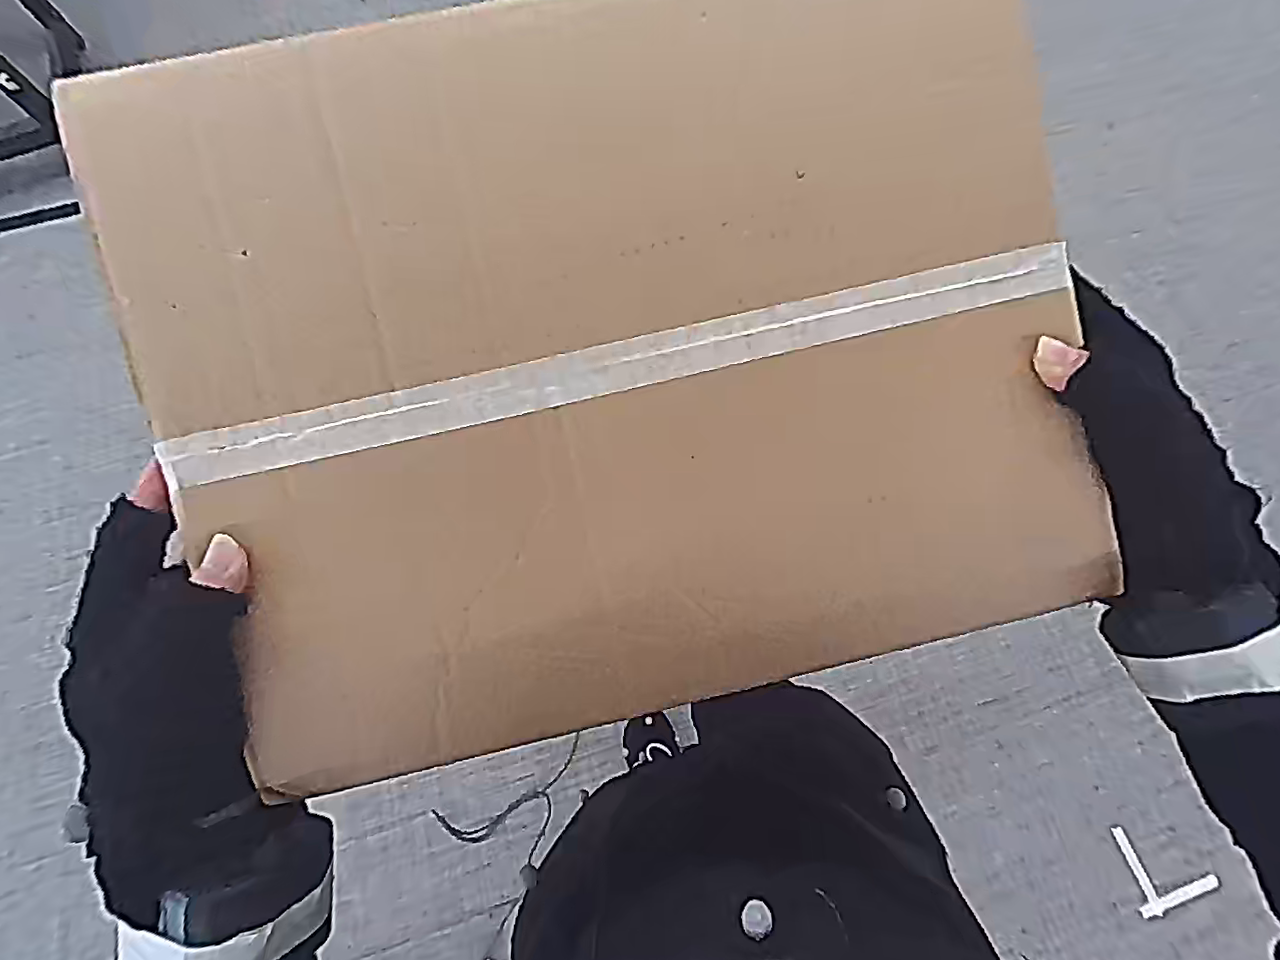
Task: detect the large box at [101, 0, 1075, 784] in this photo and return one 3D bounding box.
[{"bbox_3d":[-0.013,-0.060,0.398,0.408,0.320,0.320,-13,93,-3],"label":"large box"}]
